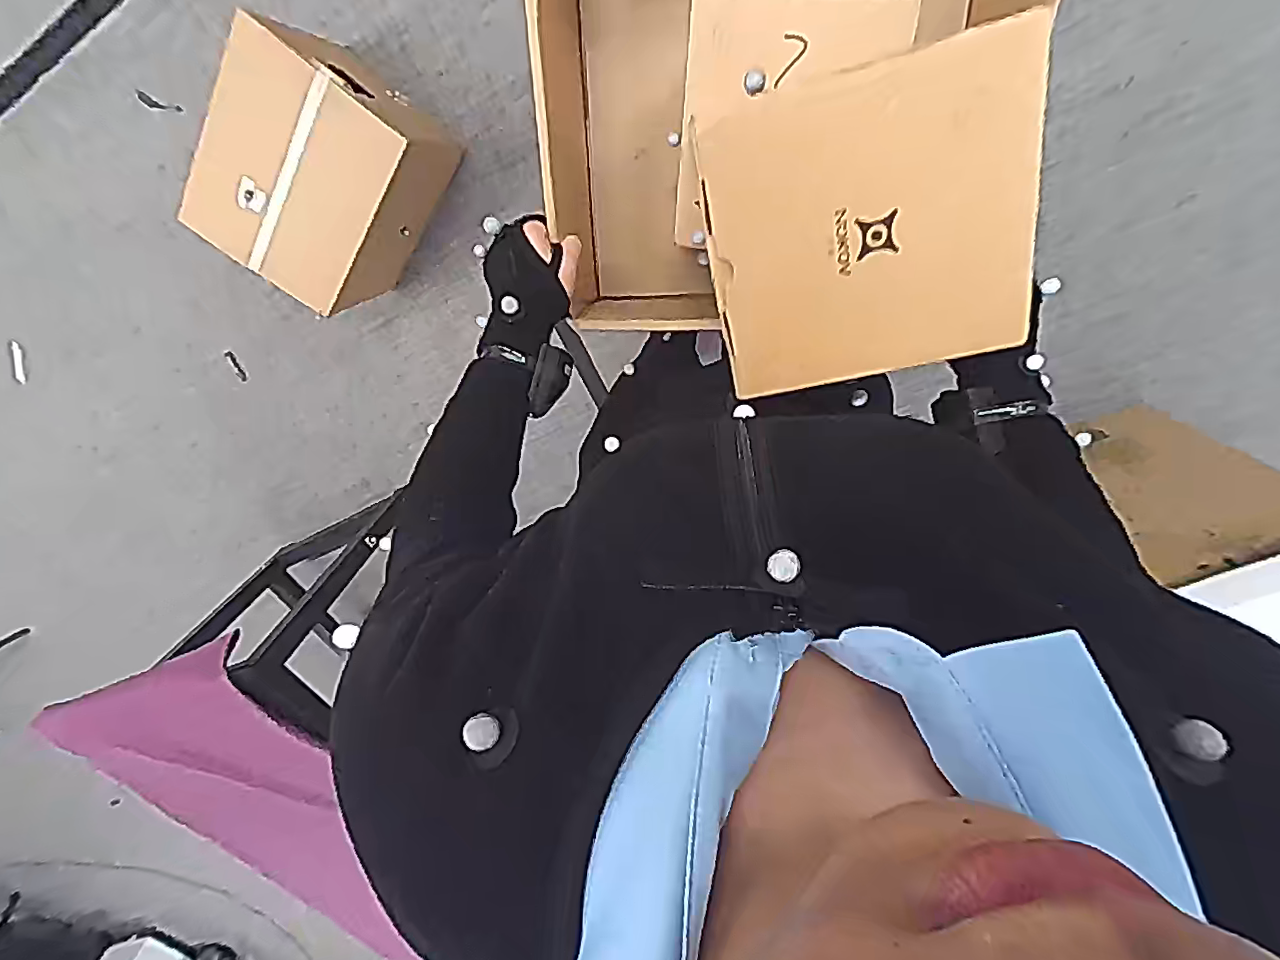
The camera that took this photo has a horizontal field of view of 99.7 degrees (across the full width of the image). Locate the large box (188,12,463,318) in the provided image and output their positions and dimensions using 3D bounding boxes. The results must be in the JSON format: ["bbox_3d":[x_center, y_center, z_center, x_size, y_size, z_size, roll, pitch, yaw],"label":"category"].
[{"bbox_3d":[-0.634,-0.628,1.130,0.320,0.320,0.408,35,117,-14],"label":"large box"}]
